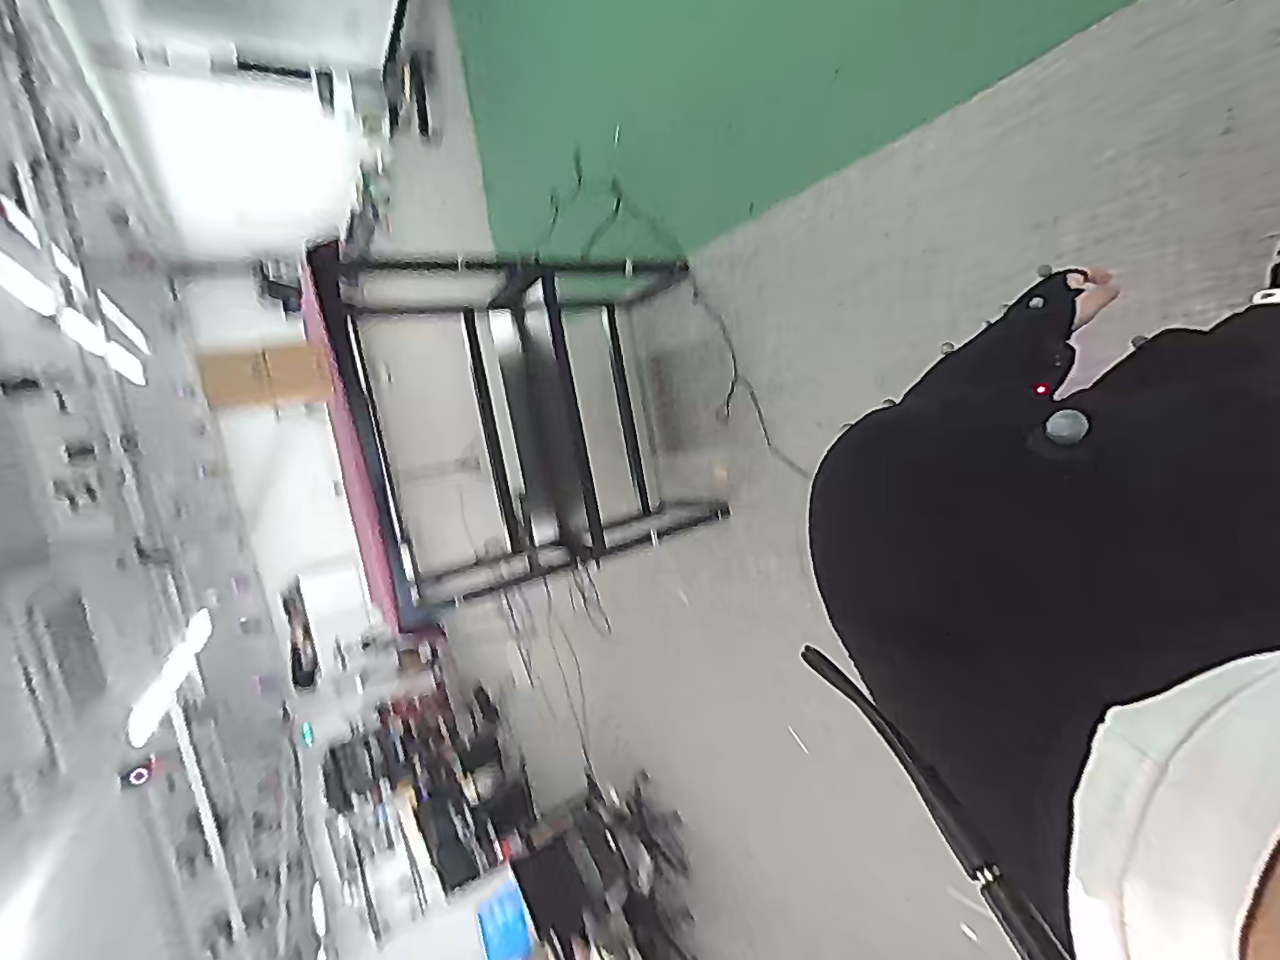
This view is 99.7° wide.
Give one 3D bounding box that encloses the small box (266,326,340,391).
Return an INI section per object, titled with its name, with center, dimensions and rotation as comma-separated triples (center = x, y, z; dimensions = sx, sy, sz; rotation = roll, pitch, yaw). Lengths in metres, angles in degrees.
[small box]
center = -1.077, -0.389, 1.735
dimensions = 0.168, 0.176, 0.179
rotation = -1, 101, 59
